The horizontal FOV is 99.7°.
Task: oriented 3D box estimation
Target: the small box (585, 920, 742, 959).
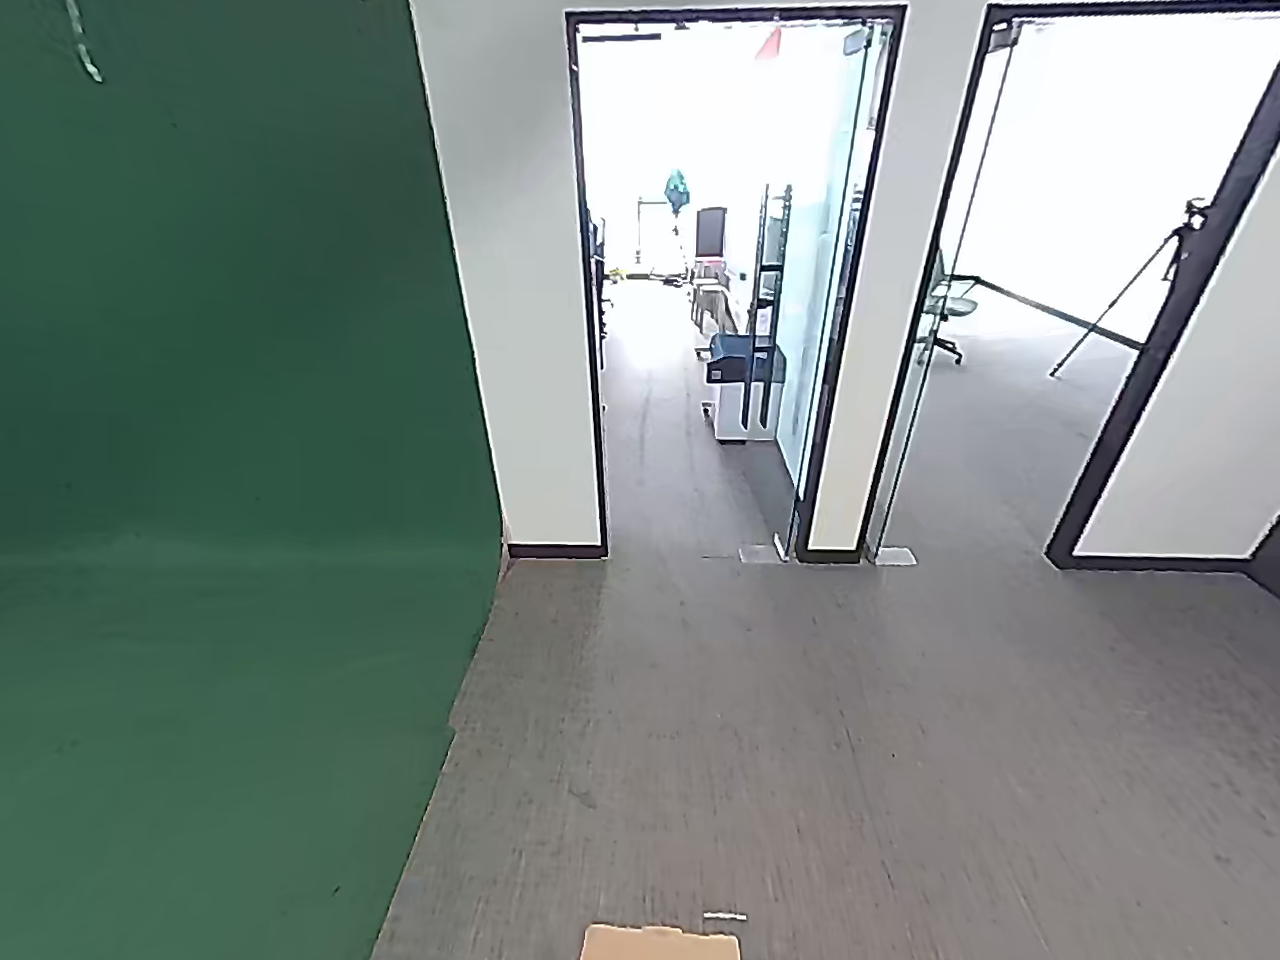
[{"bbox_3d":[0.019,0.576,0.514,0.168,0.176,0.179,1,5,3],"label":"small box"}]
